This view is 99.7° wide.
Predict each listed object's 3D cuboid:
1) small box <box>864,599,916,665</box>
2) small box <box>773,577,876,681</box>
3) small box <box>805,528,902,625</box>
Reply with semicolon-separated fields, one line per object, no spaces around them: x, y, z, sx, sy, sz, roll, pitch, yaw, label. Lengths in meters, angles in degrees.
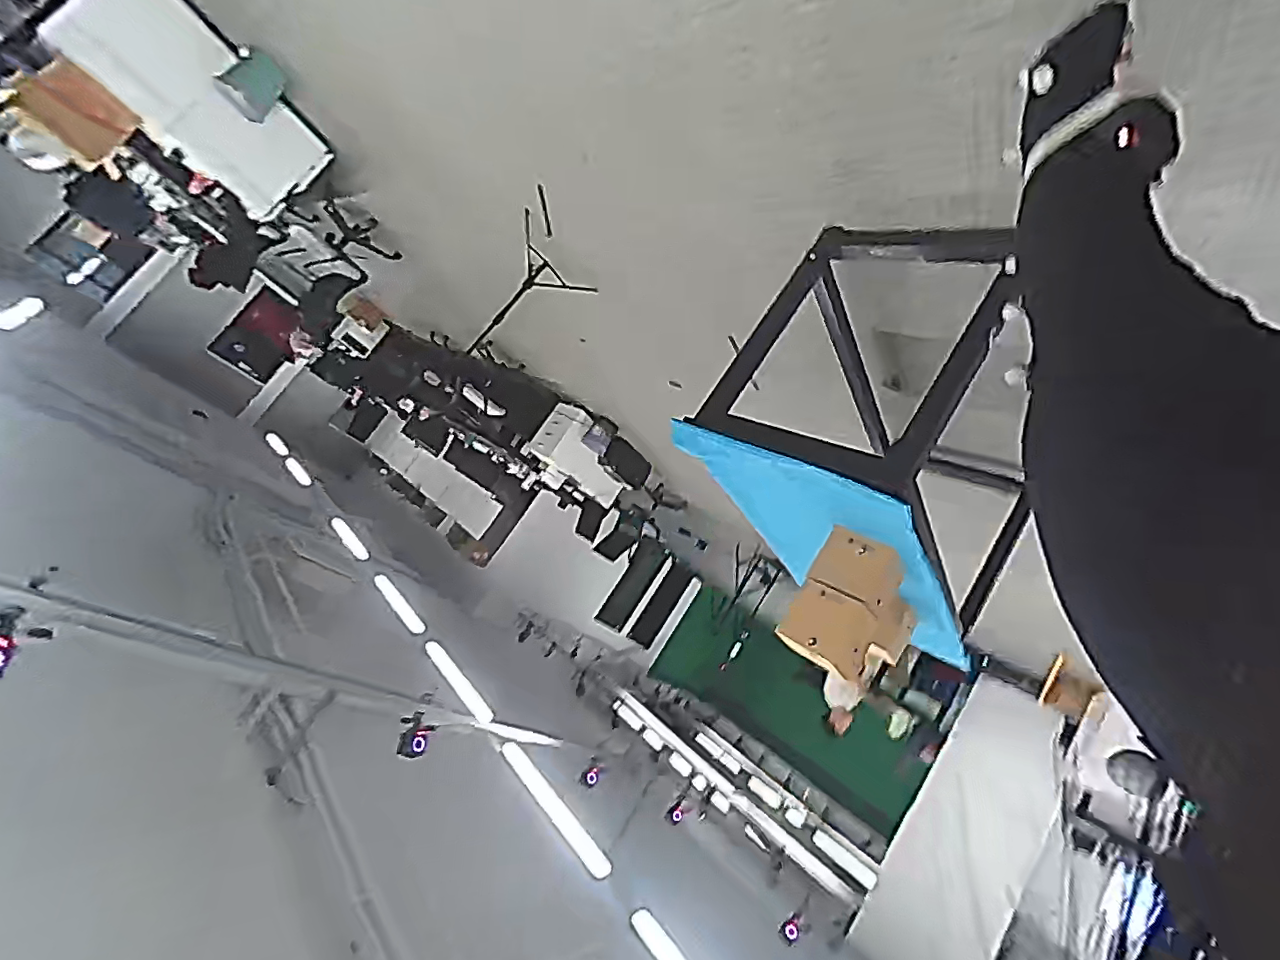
0.783;0.477;1.787;0.179;0.176;0.168;23;165;41;small box
0.487;0.385;1.411;0.168;0.176;0.179;24;164;48;small box
0.579;0.257;1.451;0.168;0.176;0.179;24;165;44;small box
